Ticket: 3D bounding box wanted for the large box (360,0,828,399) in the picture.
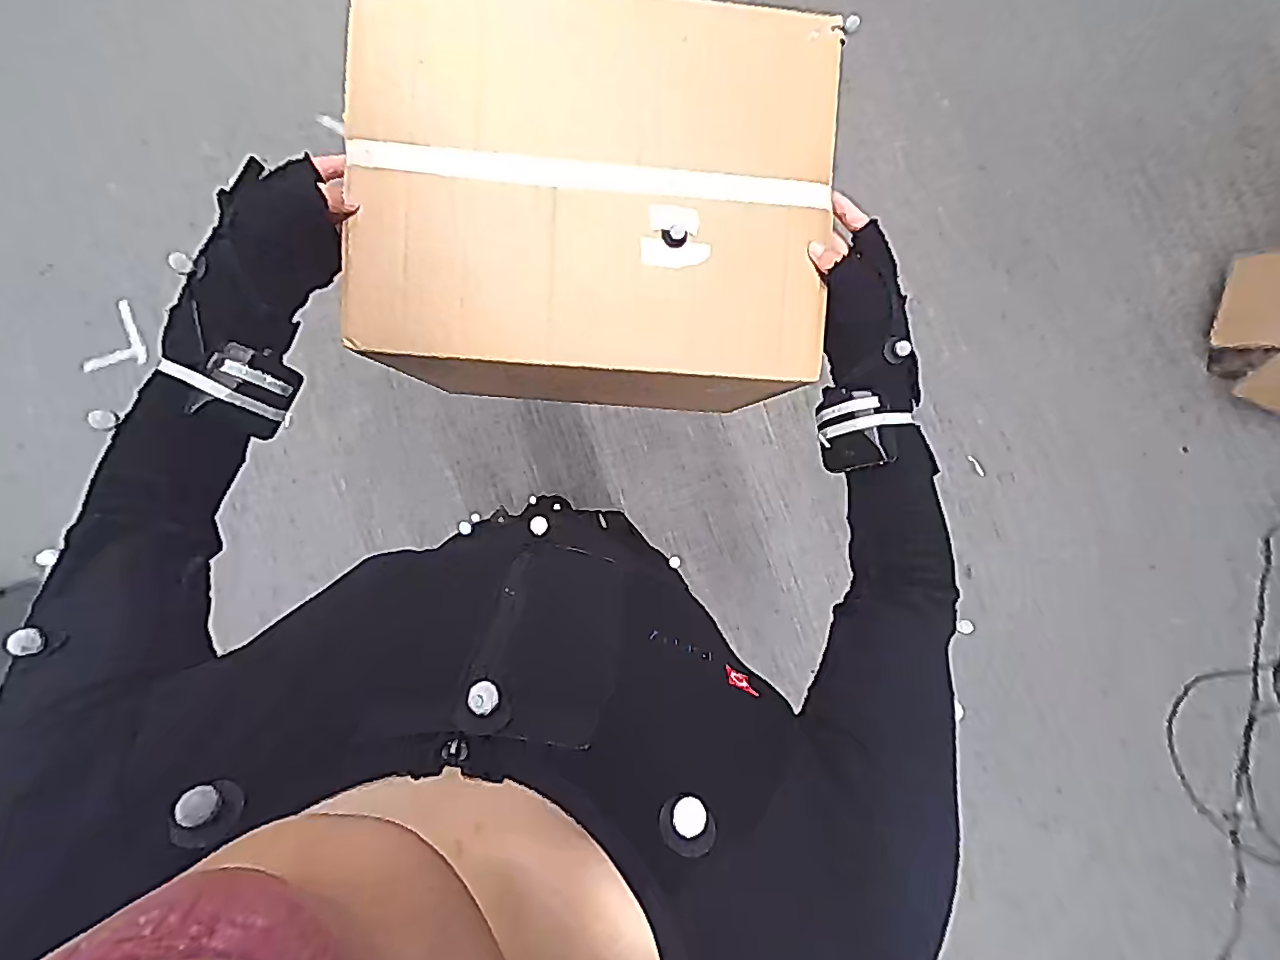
[{"bbox_3d":[-0.049,-0.266,0.612,0.408,0.320,0.320,2,93,-5],"label":"large box"}]
